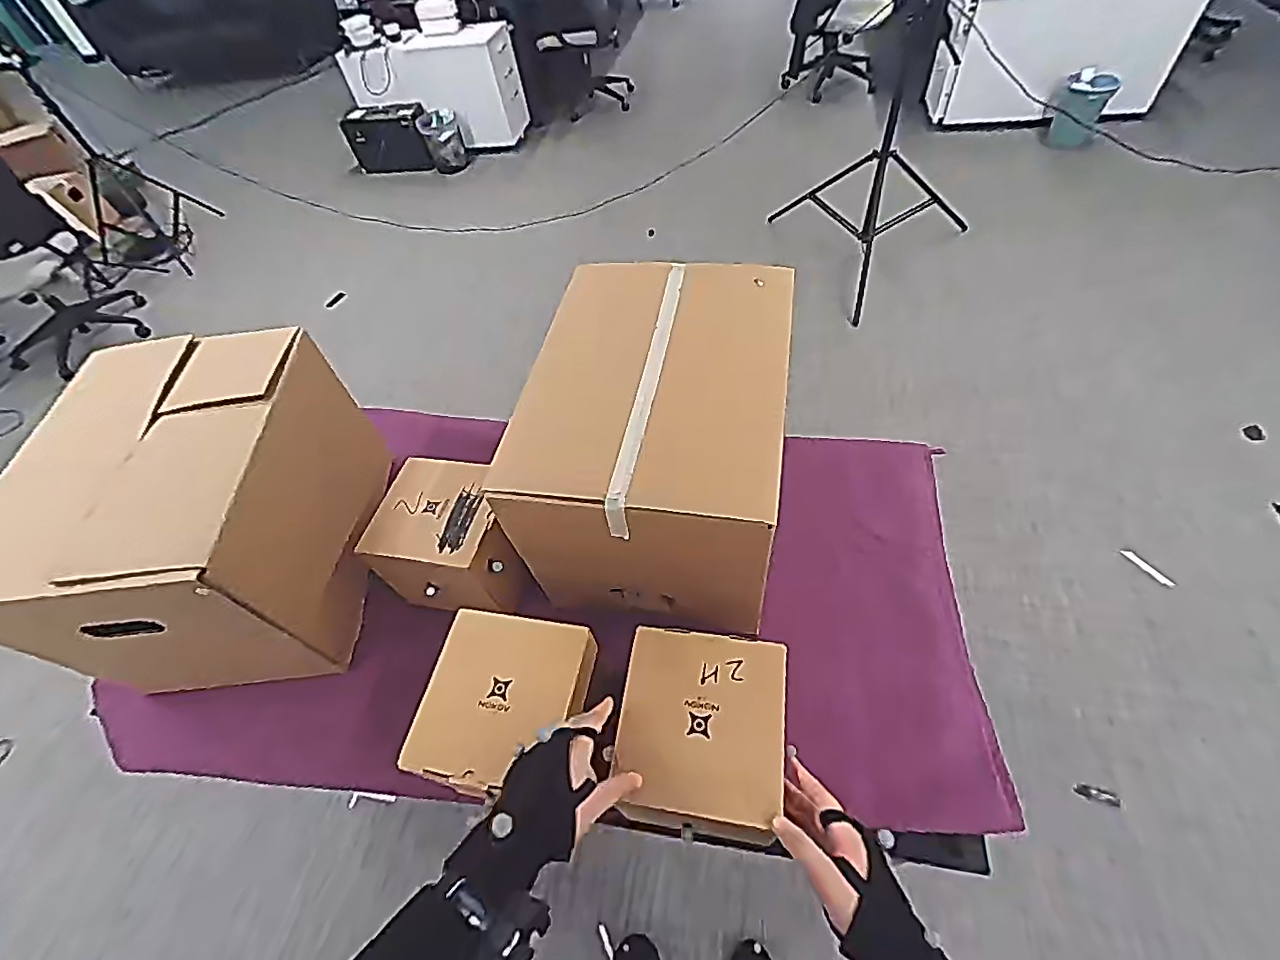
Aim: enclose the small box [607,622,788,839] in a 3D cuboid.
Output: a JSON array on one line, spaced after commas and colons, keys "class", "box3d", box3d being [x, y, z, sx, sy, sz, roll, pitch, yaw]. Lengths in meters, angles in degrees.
[{"class": "small box", "box3d": [0.072, 0.282, 0.605, 0.168, 0.176, 0.179, 5, 53, 11]}]
